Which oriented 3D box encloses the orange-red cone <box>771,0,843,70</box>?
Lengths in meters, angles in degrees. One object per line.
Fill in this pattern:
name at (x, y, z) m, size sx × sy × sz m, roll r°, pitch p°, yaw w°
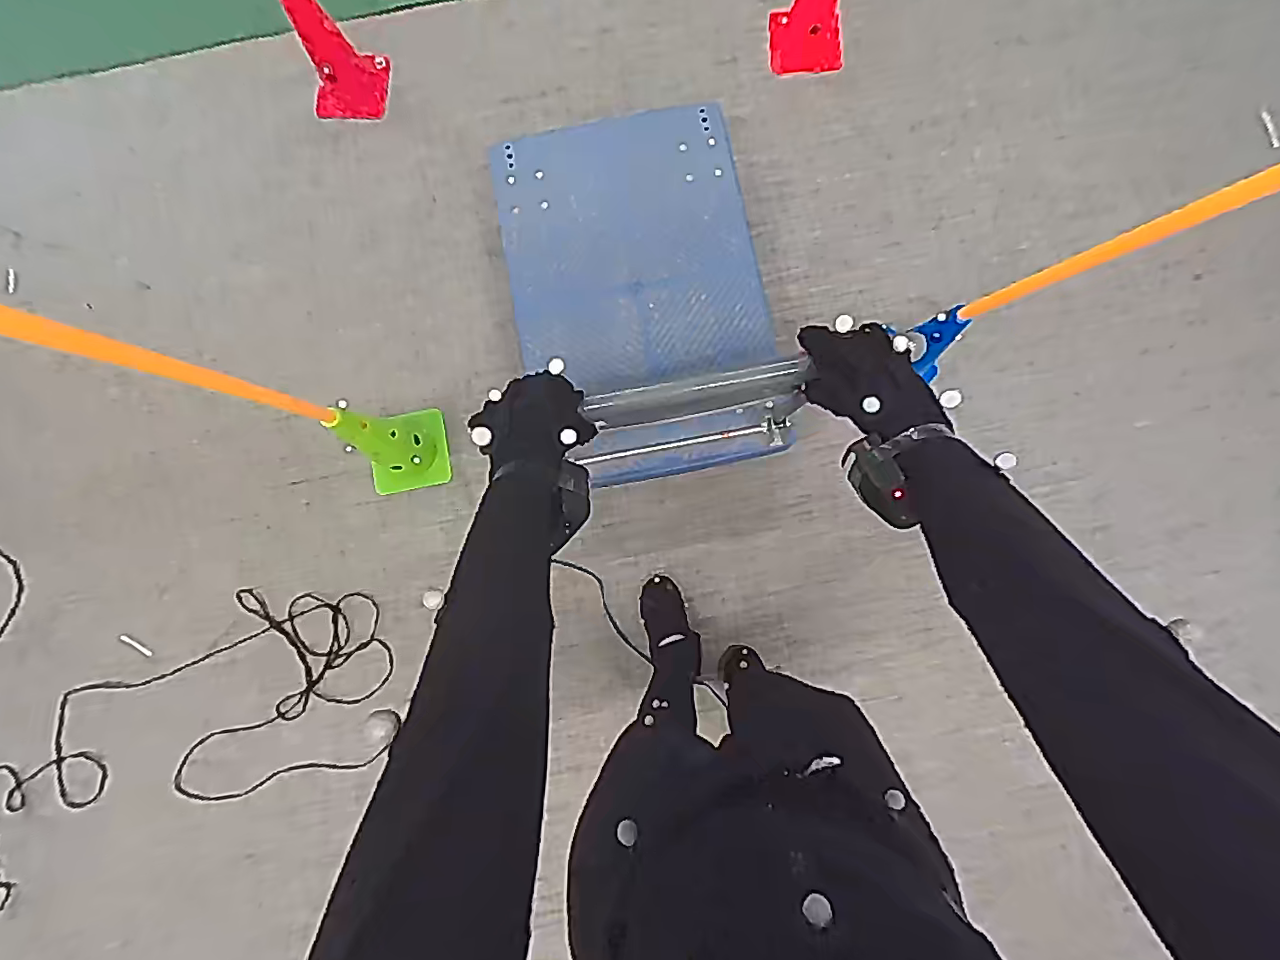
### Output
orange-red cone at (0.463, -1.264, 1.352) m, size 0.198 × 0.360 × 0.199 m, roll 1°, pitch 83°, yaw 2°
